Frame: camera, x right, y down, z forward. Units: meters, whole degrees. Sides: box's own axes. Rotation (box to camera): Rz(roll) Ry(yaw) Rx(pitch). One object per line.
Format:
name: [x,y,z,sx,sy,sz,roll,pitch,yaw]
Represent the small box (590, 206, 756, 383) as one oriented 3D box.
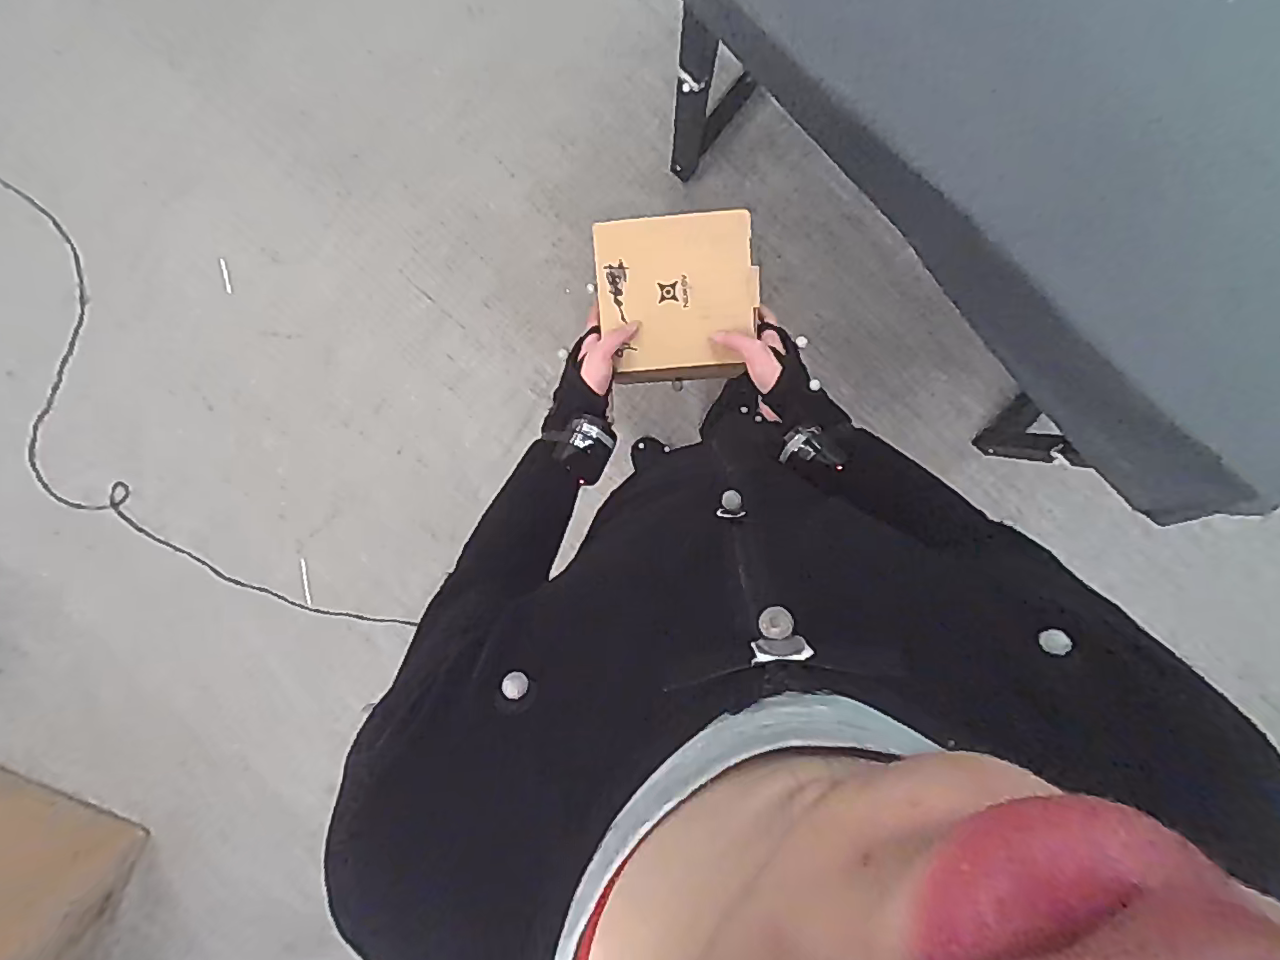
small box: [0.037,-0.216,0.669,0.179,0.176,0.168,-4,94,2]
